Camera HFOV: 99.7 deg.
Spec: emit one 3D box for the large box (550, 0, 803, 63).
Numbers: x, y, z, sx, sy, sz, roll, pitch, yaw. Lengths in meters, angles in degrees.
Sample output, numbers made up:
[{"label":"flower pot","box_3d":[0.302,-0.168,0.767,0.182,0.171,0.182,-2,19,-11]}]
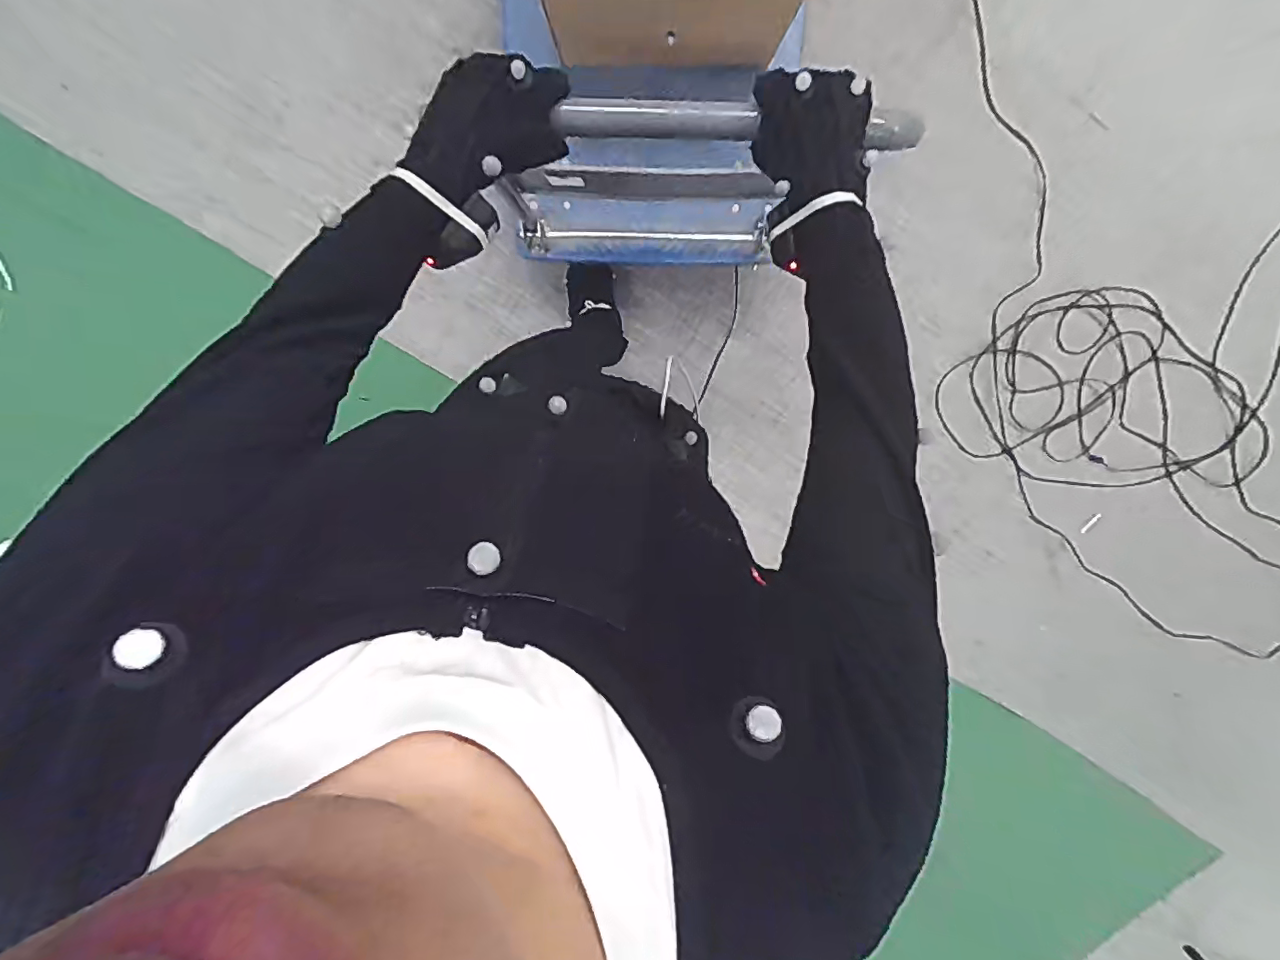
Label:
[{"label":"large box","box_3d":[0.058,-0.914,0.868,0.408,0.320,0.320,0,108,0]}]
